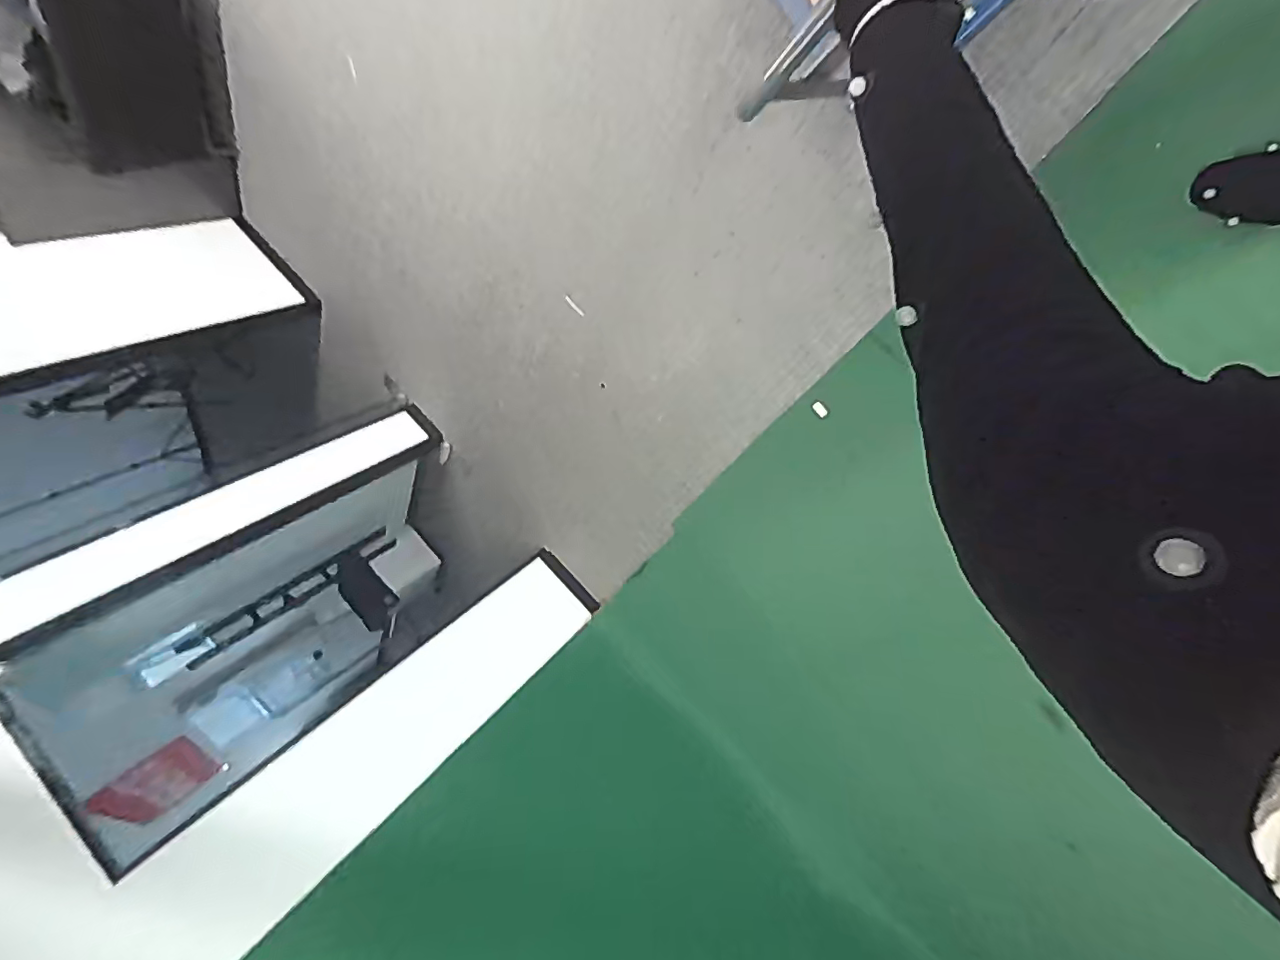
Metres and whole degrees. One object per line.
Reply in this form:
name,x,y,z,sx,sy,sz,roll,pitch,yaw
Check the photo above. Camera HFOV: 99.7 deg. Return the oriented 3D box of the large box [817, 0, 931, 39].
large box,0.388,-1.022,0.859,0.320,0.320,0.408,-29,96,47
